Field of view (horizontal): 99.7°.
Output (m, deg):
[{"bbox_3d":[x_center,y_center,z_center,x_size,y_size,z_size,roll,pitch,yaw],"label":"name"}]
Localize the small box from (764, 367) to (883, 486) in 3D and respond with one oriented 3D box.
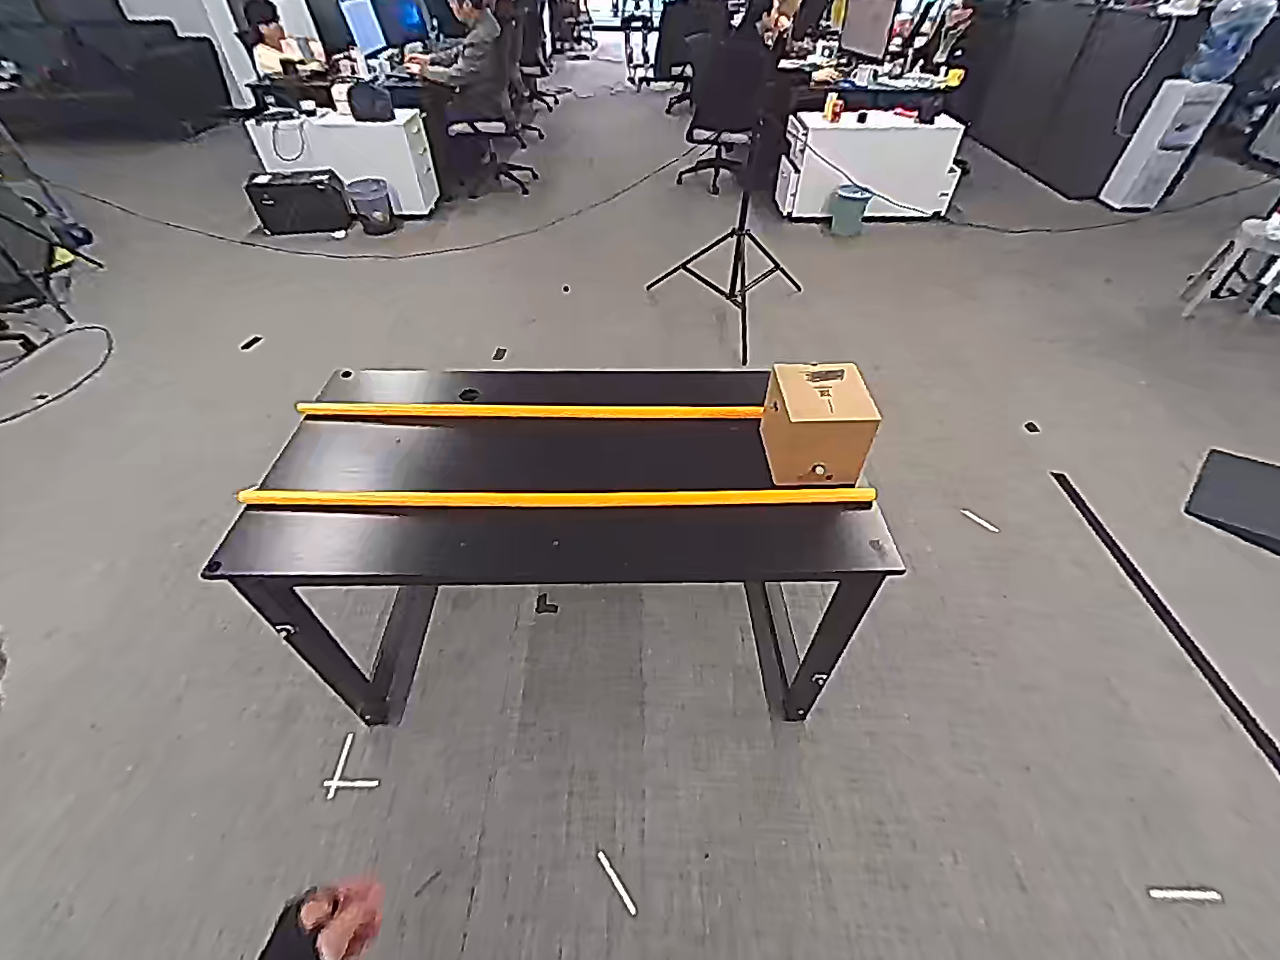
[{"bbox_3d":[0.352,-0.108,1.078,0.168,0.176,0.179,-1,46,0],"label":"small box"}]
